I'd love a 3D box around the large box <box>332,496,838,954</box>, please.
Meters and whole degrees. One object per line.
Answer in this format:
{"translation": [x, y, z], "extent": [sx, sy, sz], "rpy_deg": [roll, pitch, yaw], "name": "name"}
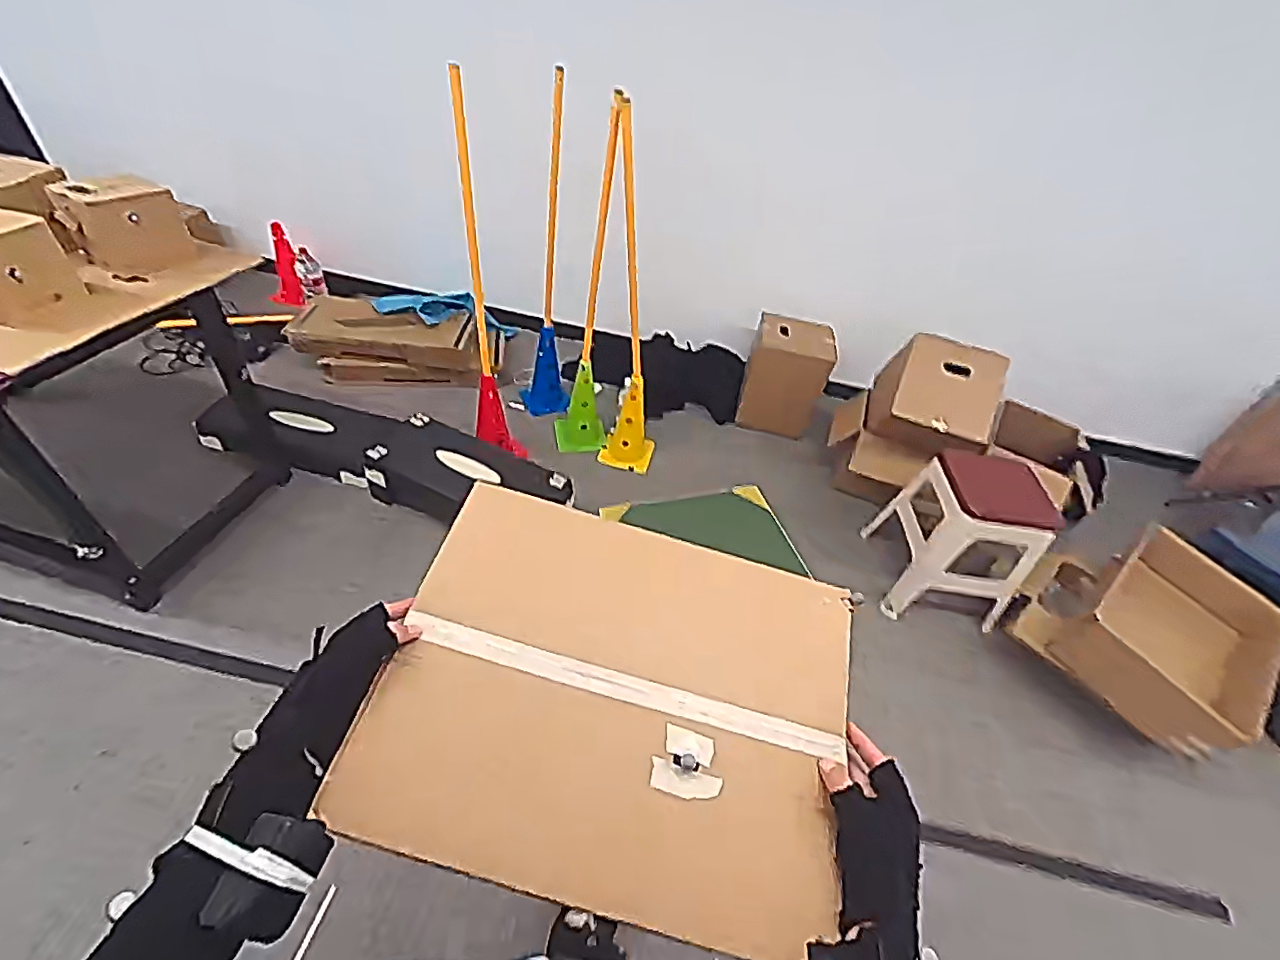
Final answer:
{"translation": [-0.037, 0.268, 0.616], "extent": [0.408, 0.320, 0.320], "rpy_deg": [16, 57, 0], "name": "large box"}
